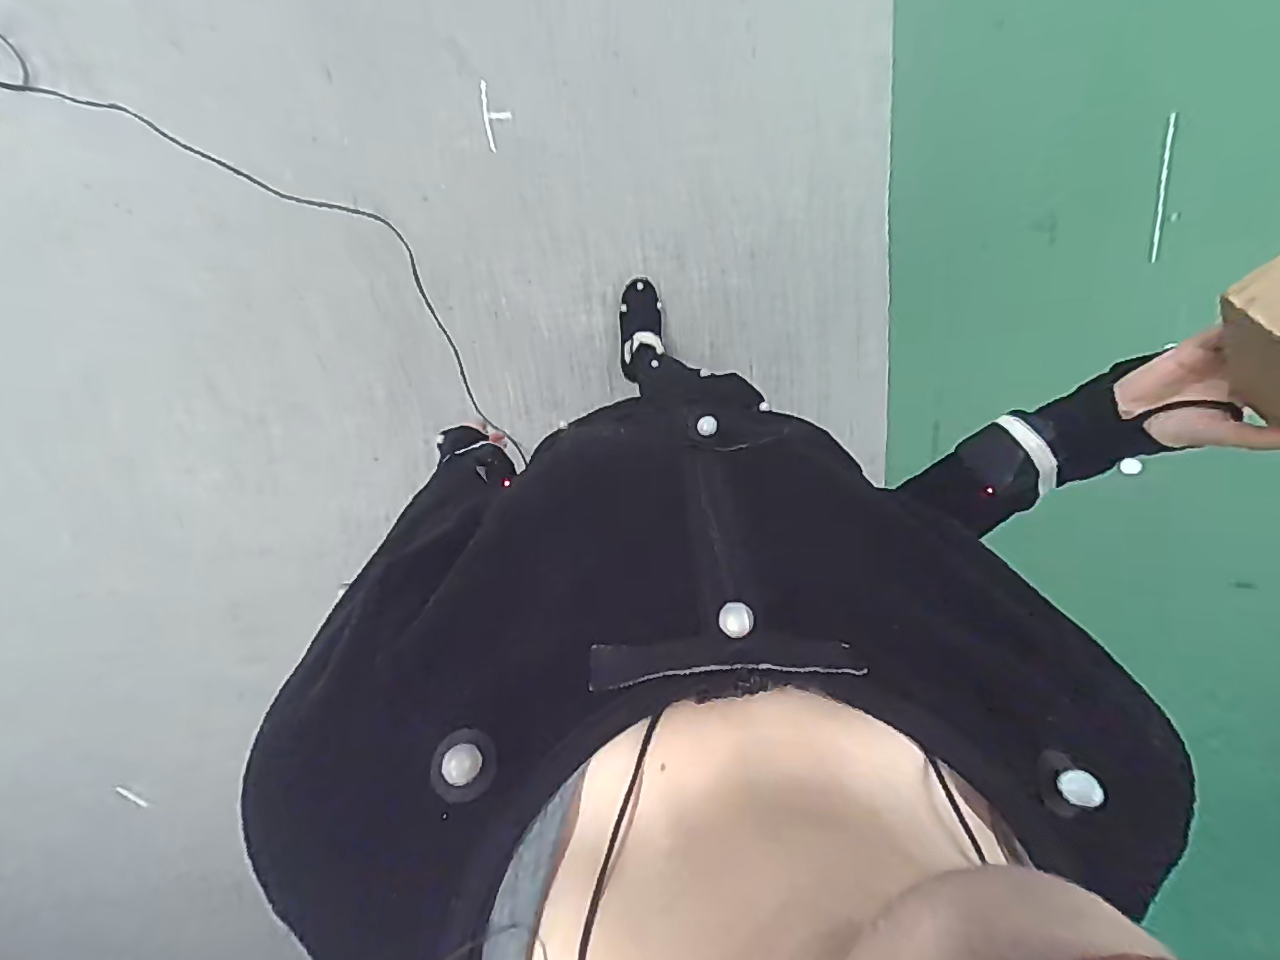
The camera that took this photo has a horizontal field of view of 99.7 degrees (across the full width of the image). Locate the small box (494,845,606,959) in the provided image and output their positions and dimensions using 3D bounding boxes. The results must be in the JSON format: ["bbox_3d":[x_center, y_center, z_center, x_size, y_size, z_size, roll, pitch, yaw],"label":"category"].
[{"bbox_3d":[-0.149,0.782,0.951,0.179,0.176,0.168,-2,103,-5],"label":"small box"}]

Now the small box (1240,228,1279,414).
[{"bbox_3d":[0.435,-0.070,0.246,0.176,0.179,0.168,17,135,-39],"label":"small box"}]

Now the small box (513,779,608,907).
[{"bbox_3d":[-0.160,0.744,1.110,0.179,0.176,0.168,-3,101,-6],"label":"small box"}]
